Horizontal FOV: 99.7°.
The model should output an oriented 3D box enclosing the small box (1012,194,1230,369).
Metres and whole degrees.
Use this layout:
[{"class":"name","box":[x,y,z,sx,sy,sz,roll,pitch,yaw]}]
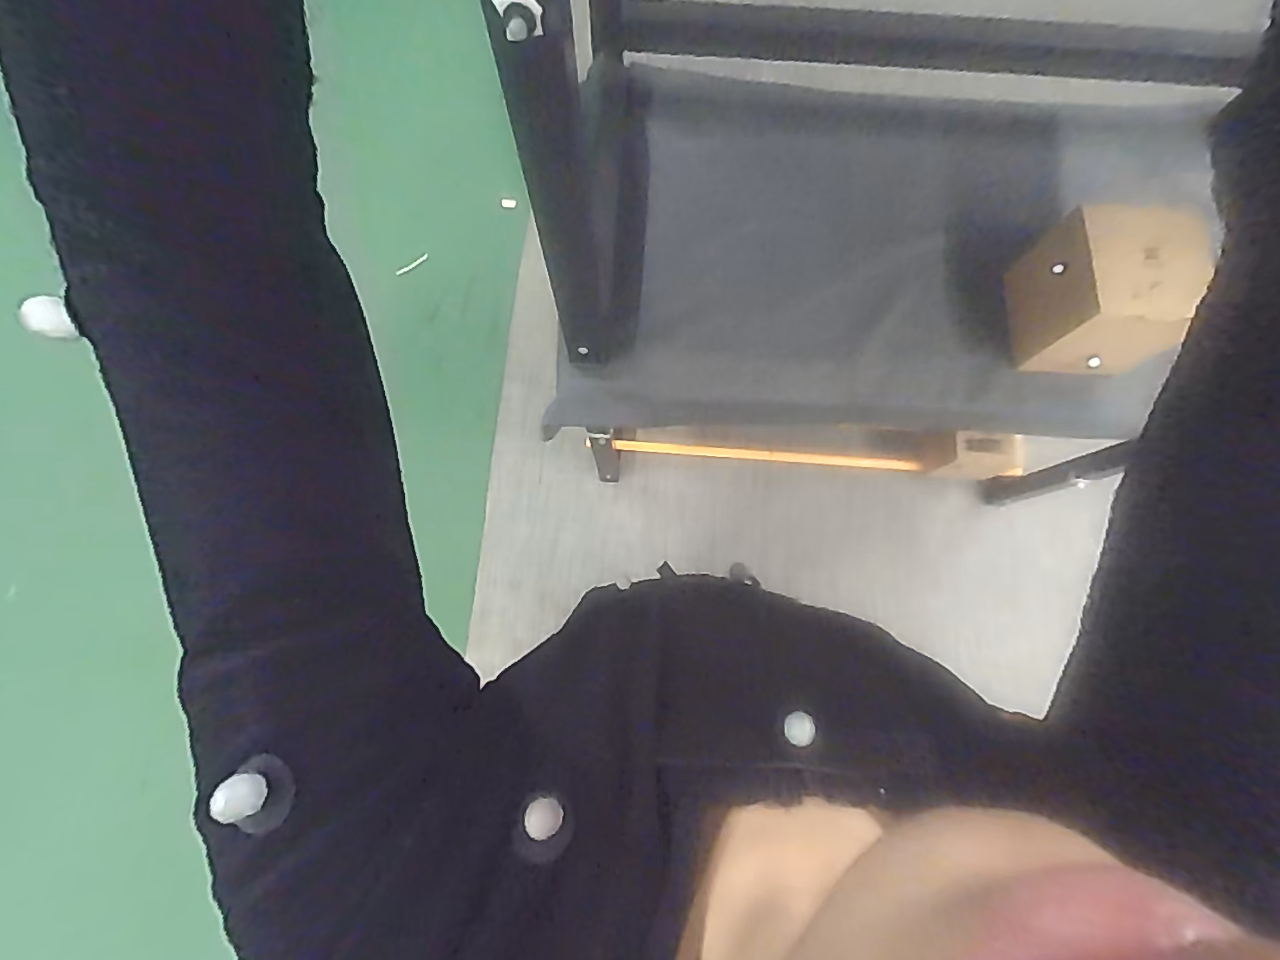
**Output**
[{"class":"small box","box":[0.688,-0.285,0.800,0.168,0.176,0.179,3,75,1]}]
